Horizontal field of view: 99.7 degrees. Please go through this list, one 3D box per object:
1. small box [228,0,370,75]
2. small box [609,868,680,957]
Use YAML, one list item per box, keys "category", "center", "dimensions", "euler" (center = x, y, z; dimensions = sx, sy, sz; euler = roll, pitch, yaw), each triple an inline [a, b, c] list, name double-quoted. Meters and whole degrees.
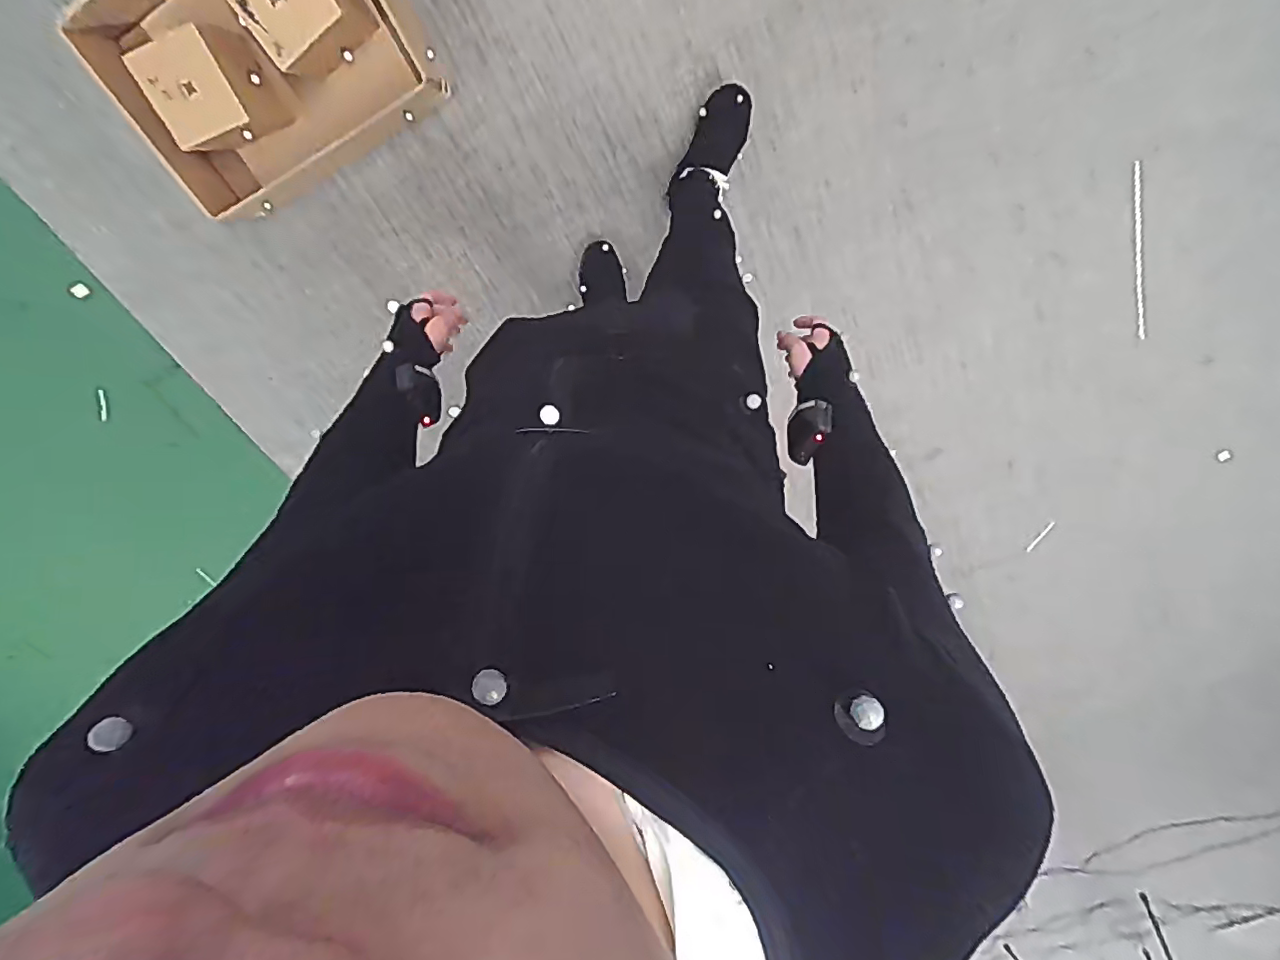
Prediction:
- category: "small box"
  center: [-0.660, -0.930, 1.051]
  dimensions: [0.179, 0.176, 0.168]
  euler: [-26, 119, 17]
- category: "small box"
  center: [0.018, 1.340, 1.678]
  dimensions: [0.168, 0.176, 0.179]
  euler: [-21, 120, 14]
